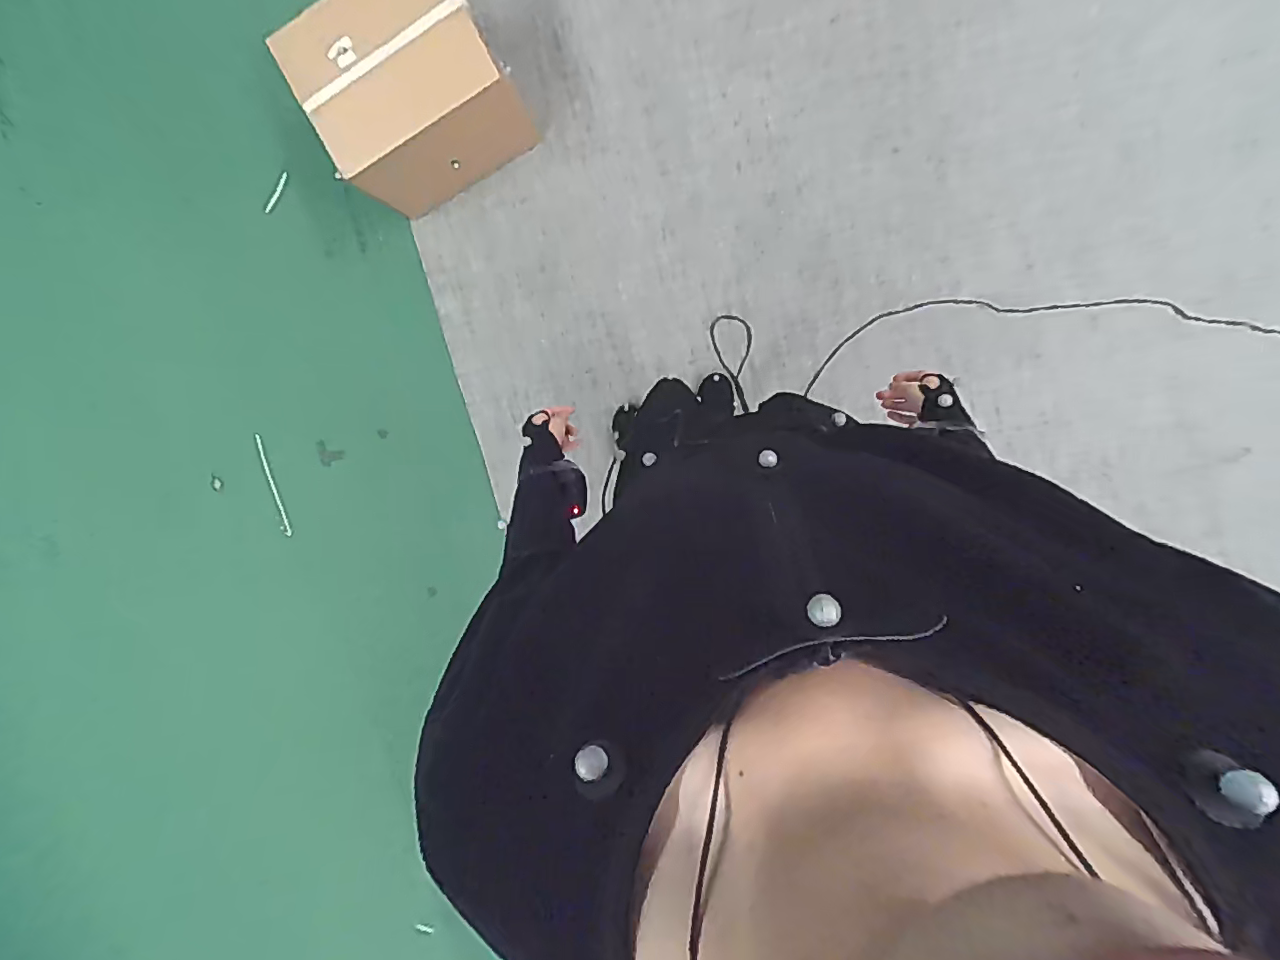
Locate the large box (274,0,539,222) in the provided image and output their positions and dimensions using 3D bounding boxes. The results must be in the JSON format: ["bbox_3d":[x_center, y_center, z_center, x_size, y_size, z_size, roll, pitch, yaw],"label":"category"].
[{"bbox_3d":[-0.510,-0.882,1.258,0.408,0.320,0.320,-26,96,10],"label":"large box"}]
